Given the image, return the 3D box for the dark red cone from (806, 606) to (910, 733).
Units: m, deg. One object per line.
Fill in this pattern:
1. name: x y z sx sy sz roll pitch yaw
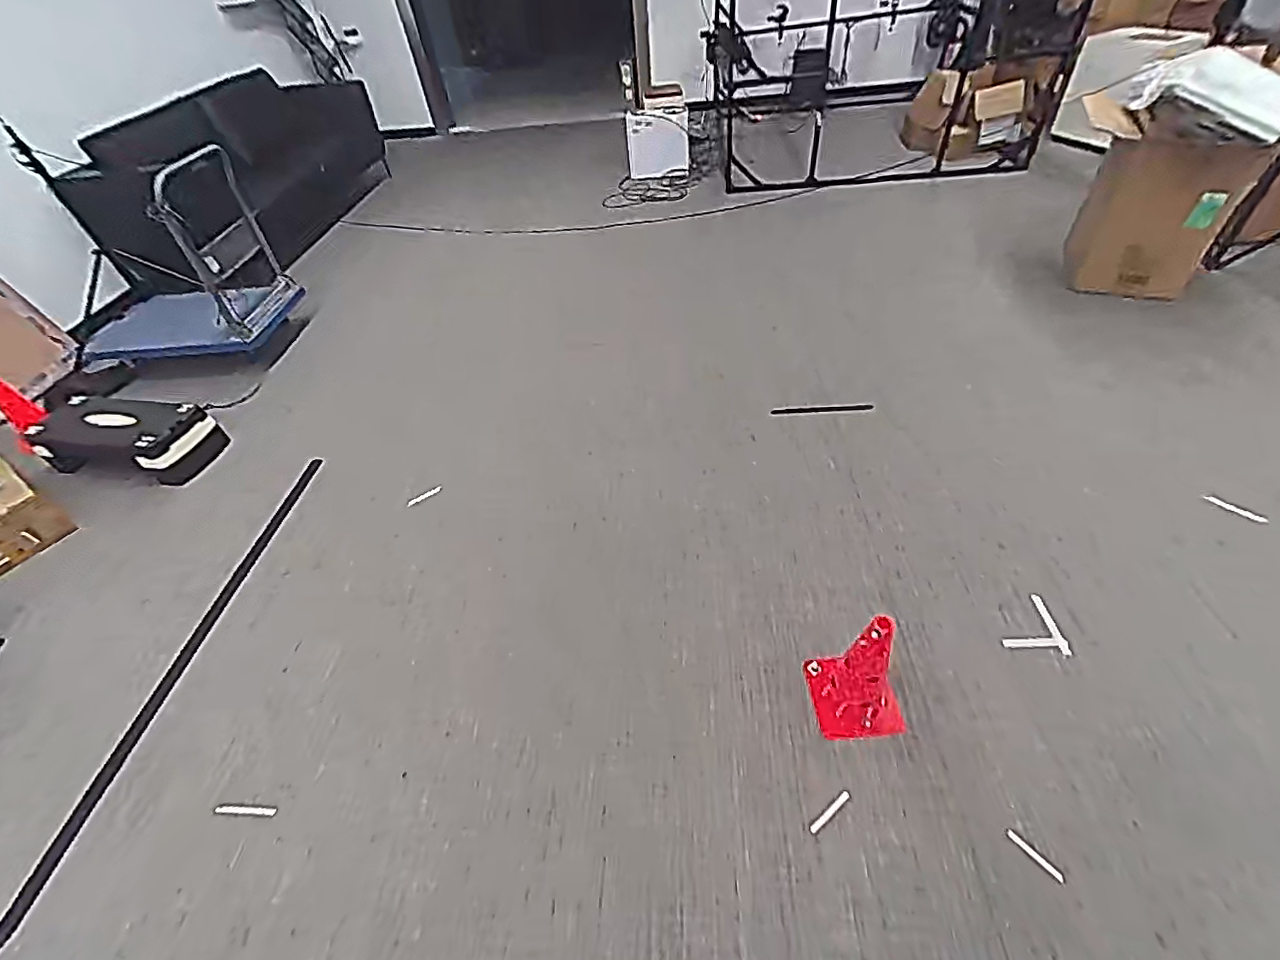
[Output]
1. dark red cone: 0.508 0.393 1.195 0.202 0.394 0.201 -7 46 1
